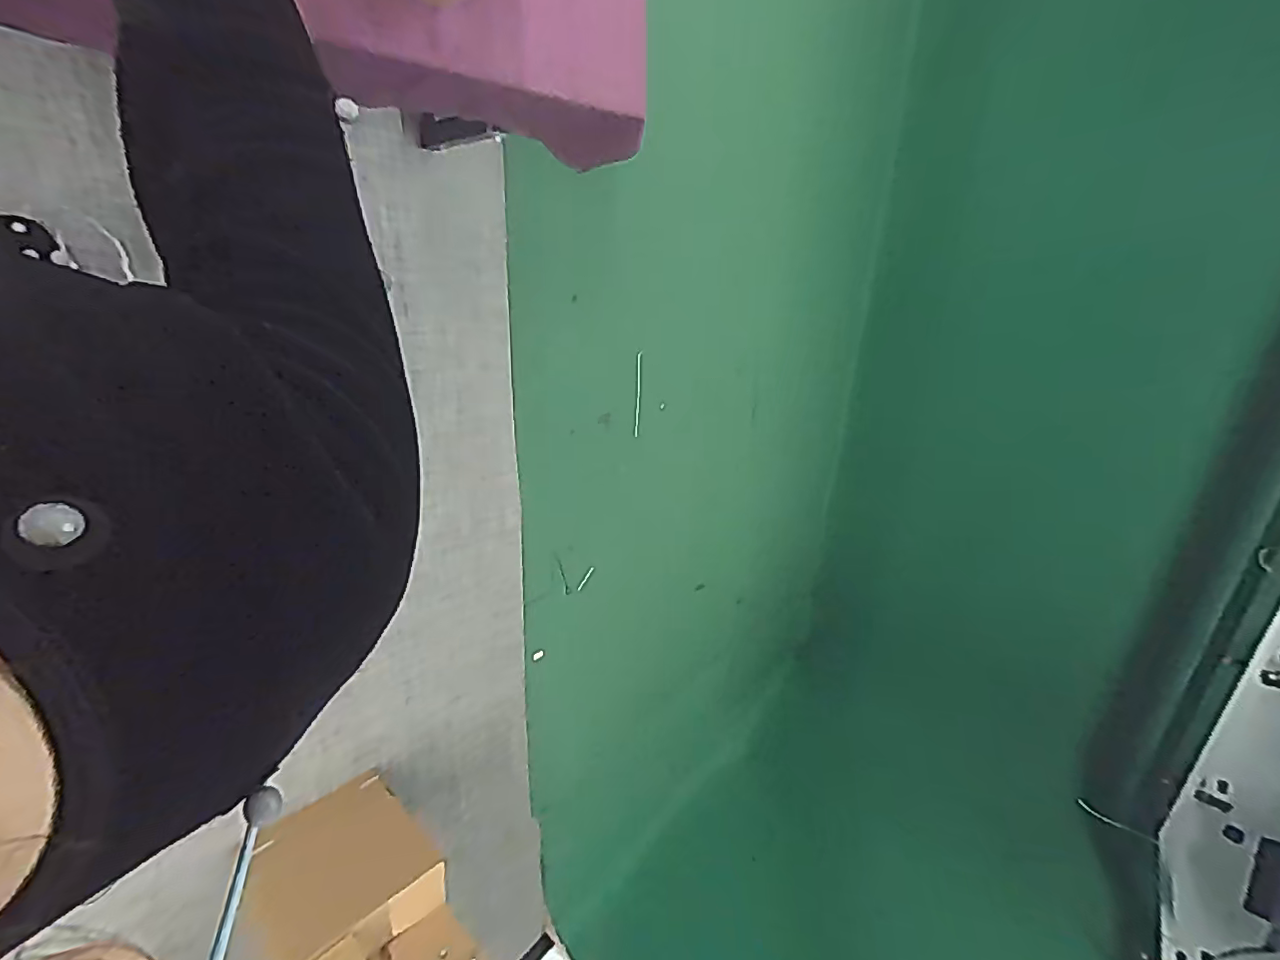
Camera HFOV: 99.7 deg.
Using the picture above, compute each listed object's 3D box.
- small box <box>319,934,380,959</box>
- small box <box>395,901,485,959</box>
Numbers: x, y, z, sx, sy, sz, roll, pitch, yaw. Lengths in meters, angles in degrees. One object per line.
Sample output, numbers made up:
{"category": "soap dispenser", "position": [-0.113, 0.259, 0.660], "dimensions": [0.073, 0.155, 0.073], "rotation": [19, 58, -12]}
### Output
{"category": "small box", "position": [-0.702, 1.239, 1.281], "dimensions": [0.168, 0.176, 0.179], "rotation": [-17, 118, -45]}
{"category": "small box", "position": [-0.557, 1.332, 1.495], "dimensions": [0.179, 0.176, 0.168], "rotation": [-6, 110, -48]}
